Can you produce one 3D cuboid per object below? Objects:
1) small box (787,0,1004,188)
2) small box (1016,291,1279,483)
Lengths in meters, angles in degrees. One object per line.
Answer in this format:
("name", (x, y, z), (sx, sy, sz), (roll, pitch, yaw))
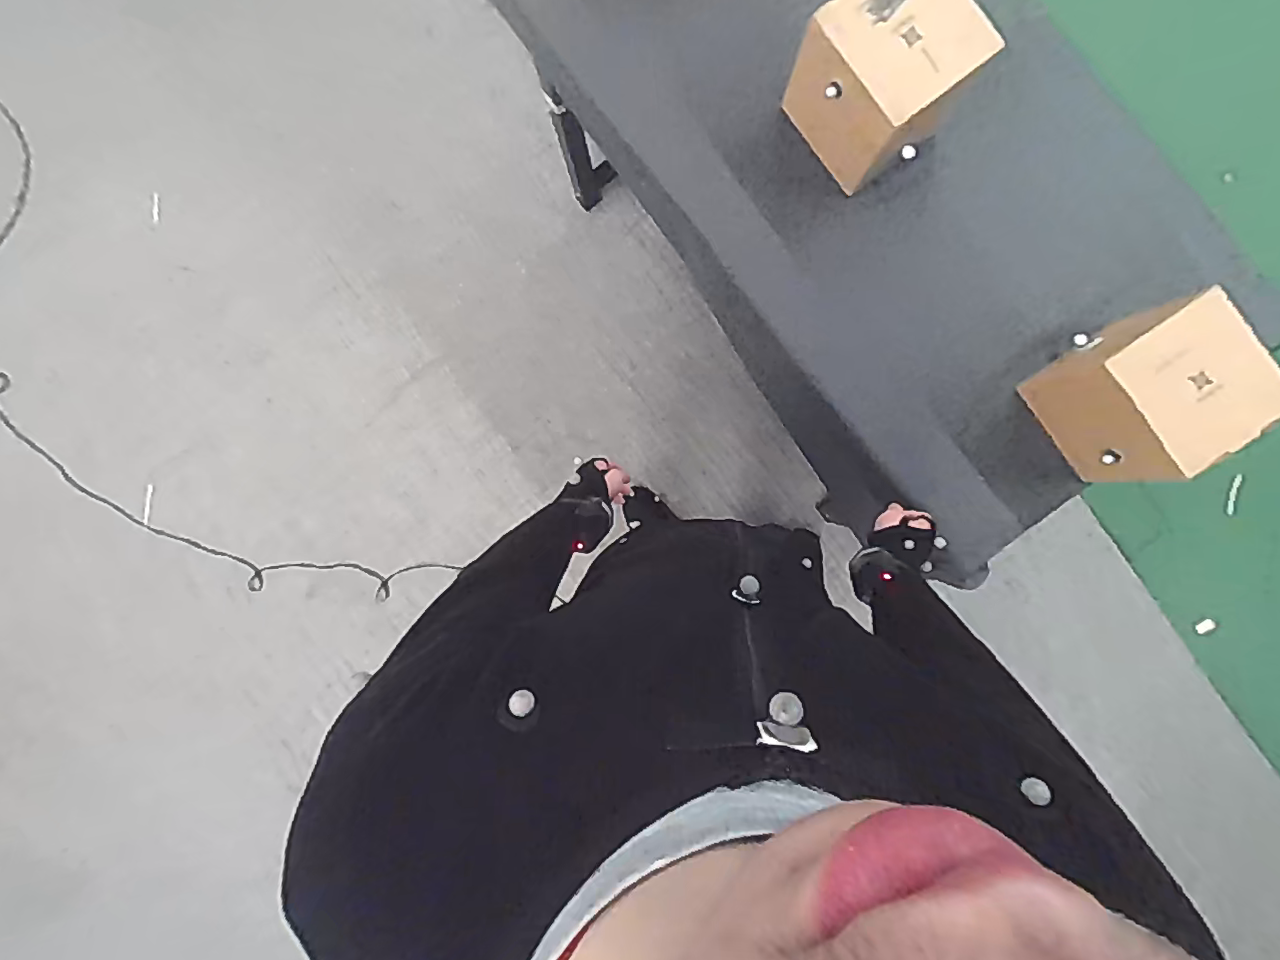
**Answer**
("small box", (0.326, -0.545, 0.731), (0.168, 0.176, 0.179), (-36, 90, 3))
("small box", (0.667, -0.112, 0.725), (0.168, 0.176, 0.179), (-35, 88, 1))
